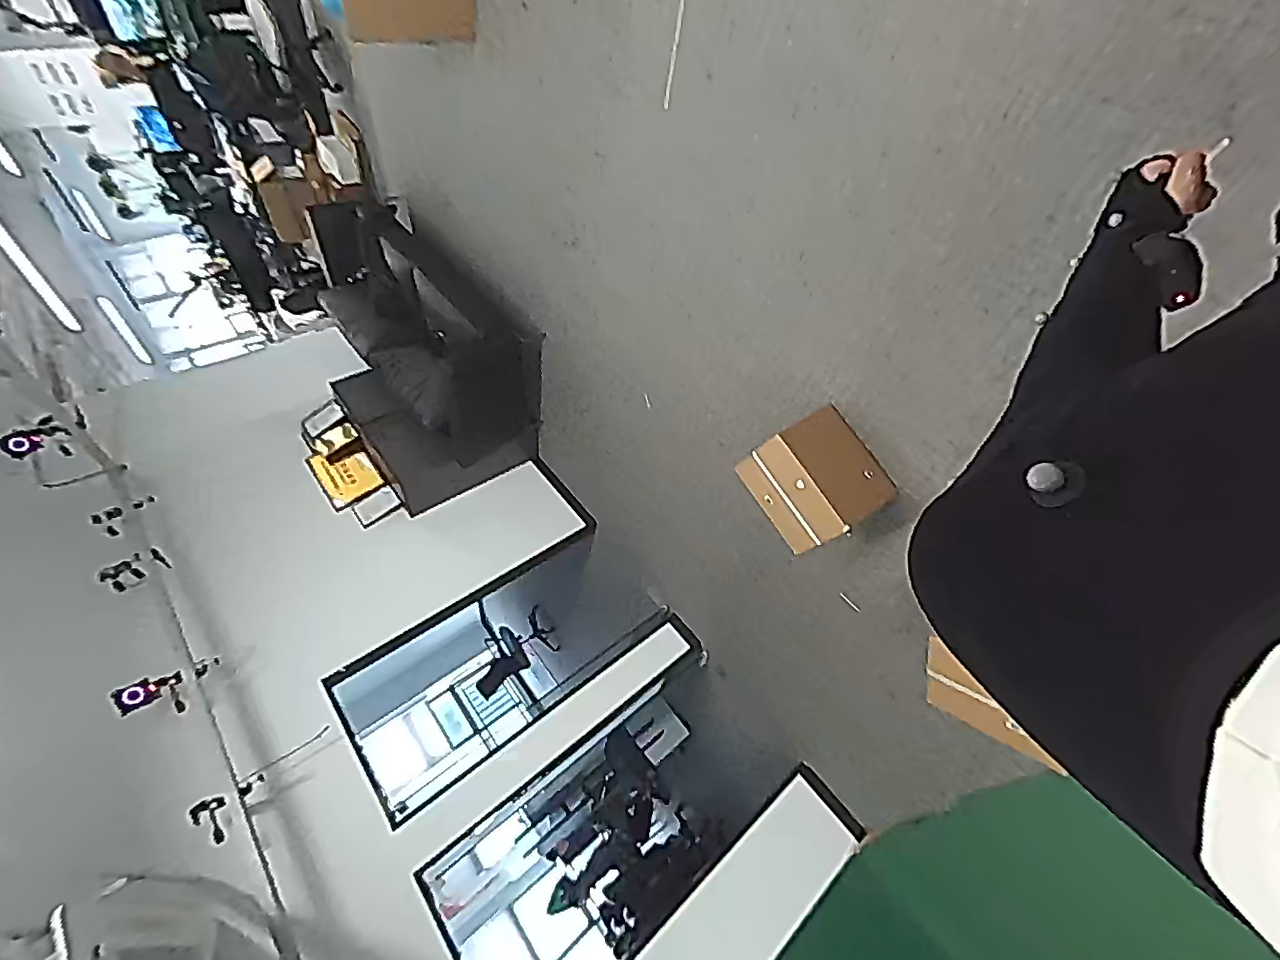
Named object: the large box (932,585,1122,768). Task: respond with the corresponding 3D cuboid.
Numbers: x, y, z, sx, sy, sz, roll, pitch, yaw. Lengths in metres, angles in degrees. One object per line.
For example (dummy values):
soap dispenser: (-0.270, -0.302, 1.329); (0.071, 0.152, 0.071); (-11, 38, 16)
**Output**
large box: (1.203, 0.593, 1.713); (0.408, 0.320, 0.320); (20, 132, 48)
